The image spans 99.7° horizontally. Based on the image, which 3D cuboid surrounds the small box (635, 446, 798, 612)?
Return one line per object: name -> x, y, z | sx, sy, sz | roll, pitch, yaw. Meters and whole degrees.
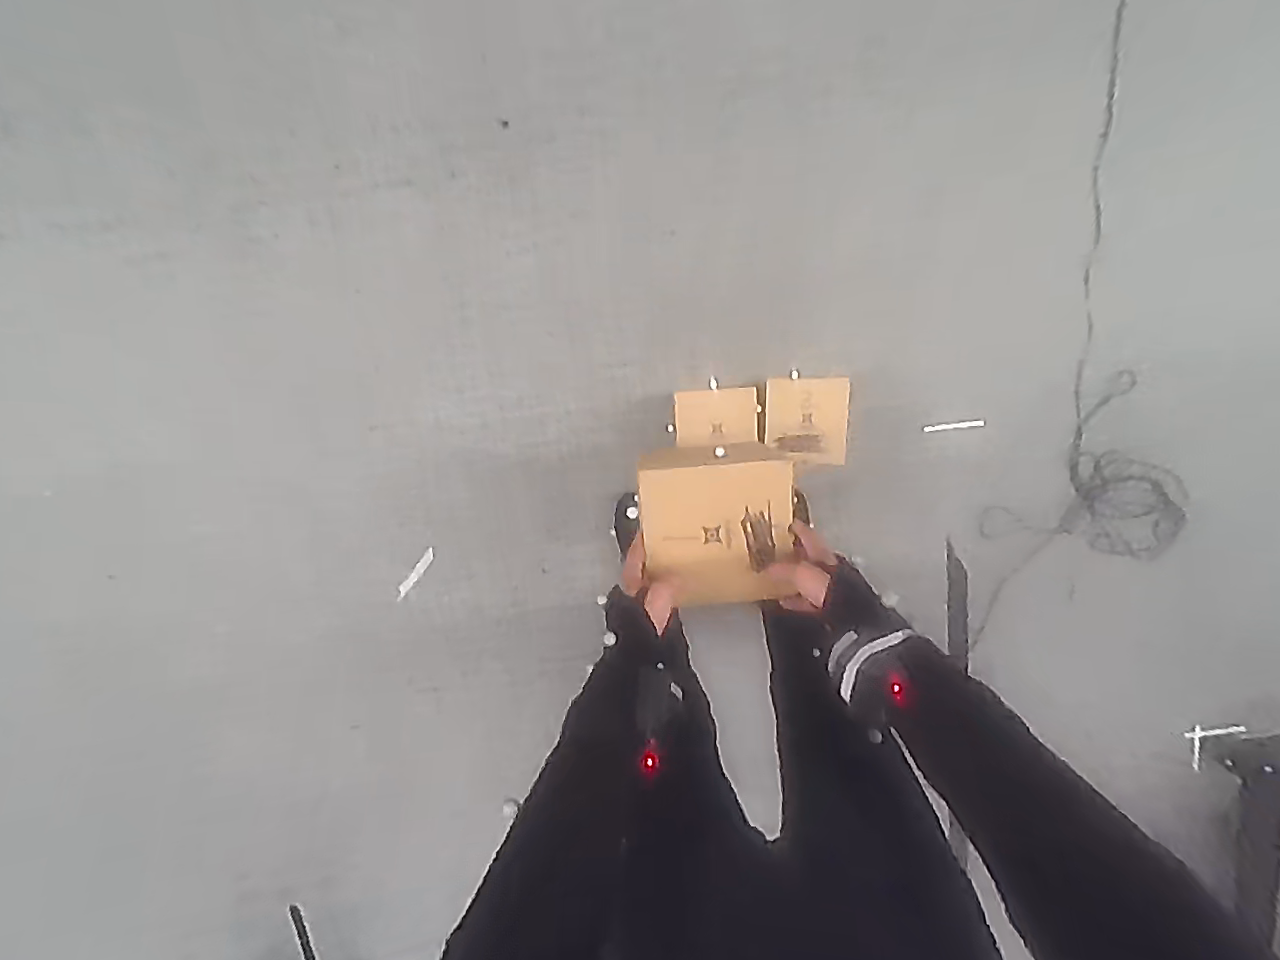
small box -> 0.088, 0.052, 0.688 | 0.179, 0.176, 0.168 | -5, 100, -1
